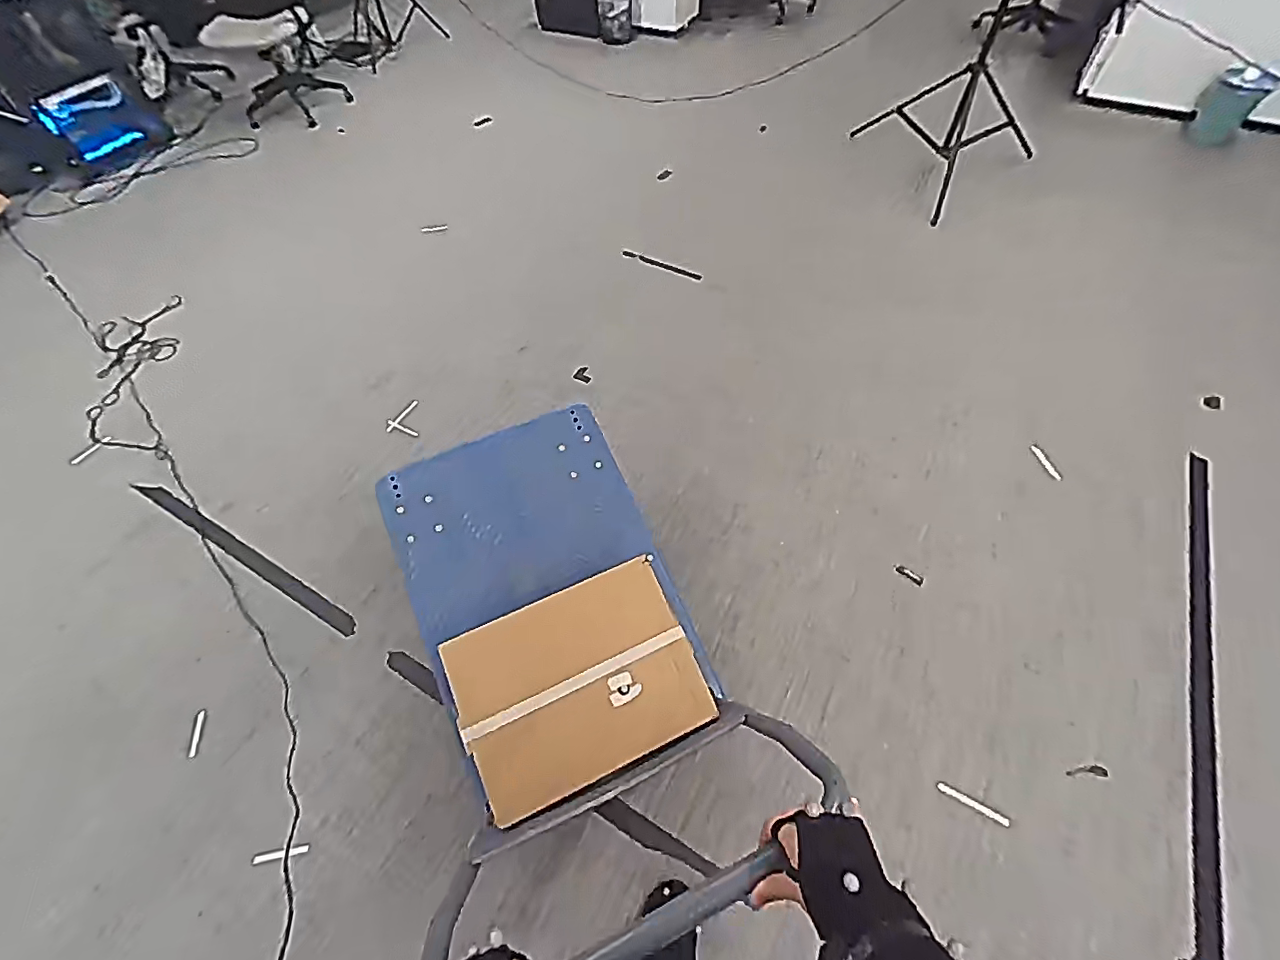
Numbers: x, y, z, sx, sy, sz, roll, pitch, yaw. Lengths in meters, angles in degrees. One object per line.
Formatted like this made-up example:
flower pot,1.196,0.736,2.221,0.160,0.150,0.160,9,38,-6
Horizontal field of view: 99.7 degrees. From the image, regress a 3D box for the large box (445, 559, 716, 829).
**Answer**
large box,-0.118,0.412,1.094,0.408,0.320,0.320,-23,74,-13
